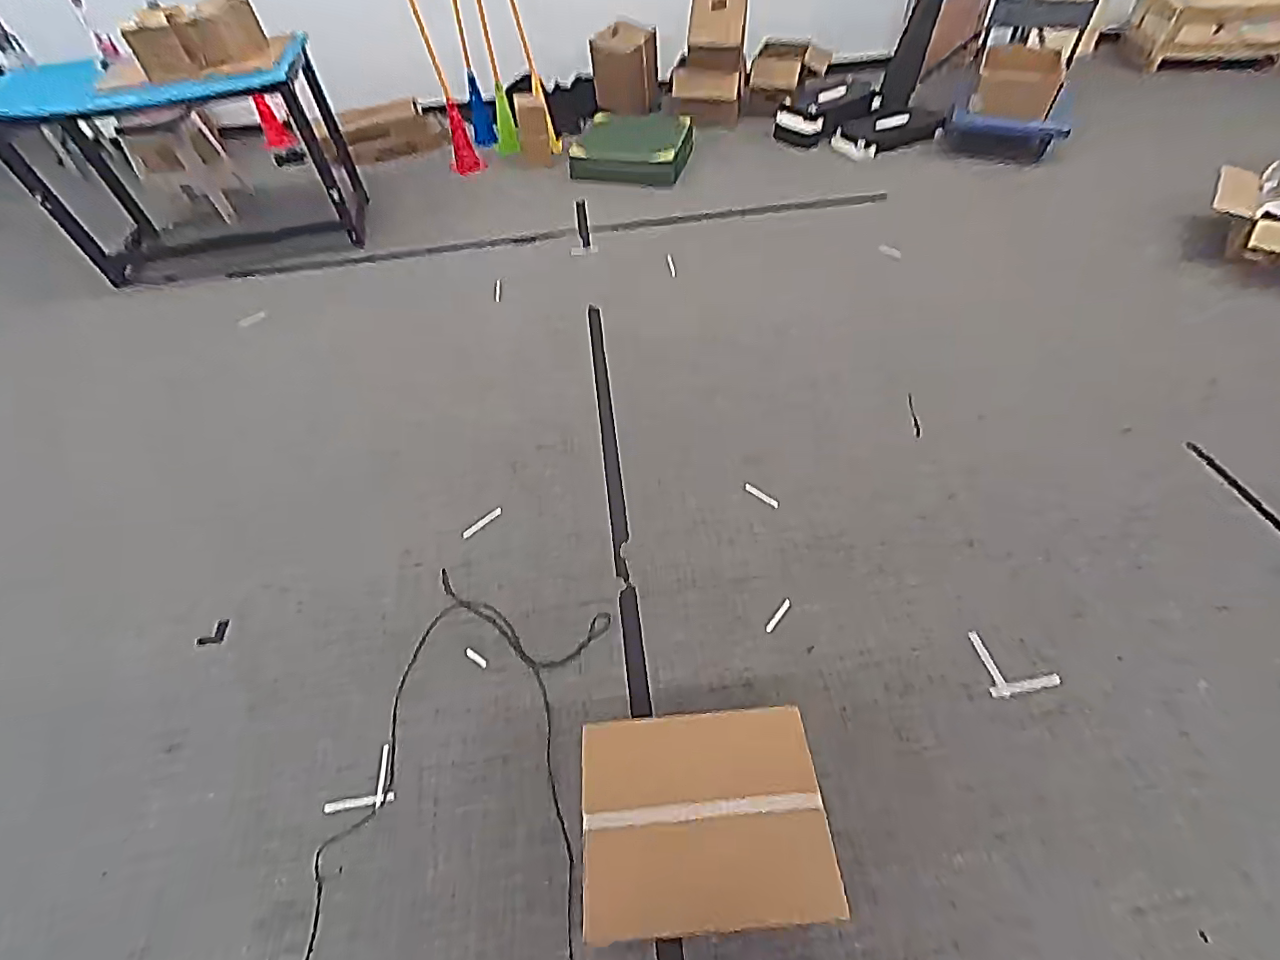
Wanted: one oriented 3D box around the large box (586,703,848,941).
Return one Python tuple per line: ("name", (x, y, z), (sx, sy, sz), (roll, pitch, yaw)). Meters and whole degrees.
("large box", (0.116, 0.648, 1.026), (0.408, 0.320, 0.320), (-5, 52, -1))
